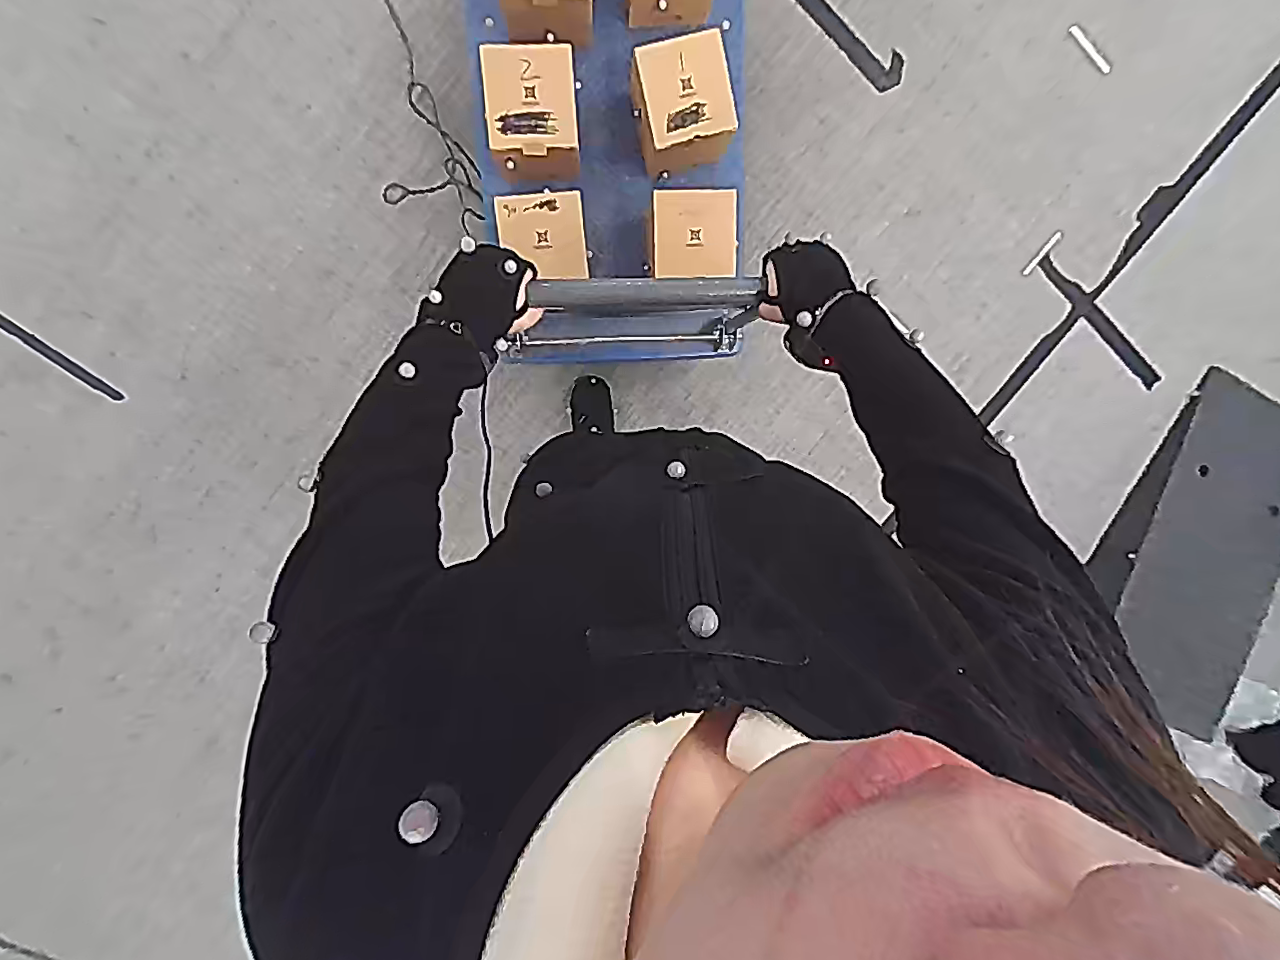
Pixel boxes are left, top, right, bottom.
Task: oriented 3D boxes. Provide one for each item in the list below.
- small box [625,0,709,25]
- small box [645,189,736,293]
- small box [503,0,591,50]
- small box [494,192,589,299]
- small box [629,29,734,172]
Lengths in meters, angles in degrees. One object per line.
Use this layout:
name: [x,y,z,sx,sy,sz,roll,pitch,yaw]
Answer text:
small box: [0.053,-1.013,1.034,0.168,0.176,0.179,-6,102,-3]
small box: [0.101,-0.496,1.144,0.168,0.176,0.179,-2,101,-5]
small box: [-0.177,-0.965,1.023,0.168,0.176,0.179,-1,102,-4]
small box: [-0.196,-0.476,1.121,0.168,0.176,0.179,-6,102,-5]
small box: [0.078,-0.747,1.090,0.168,0.176,0.179,-15,102,-2]
